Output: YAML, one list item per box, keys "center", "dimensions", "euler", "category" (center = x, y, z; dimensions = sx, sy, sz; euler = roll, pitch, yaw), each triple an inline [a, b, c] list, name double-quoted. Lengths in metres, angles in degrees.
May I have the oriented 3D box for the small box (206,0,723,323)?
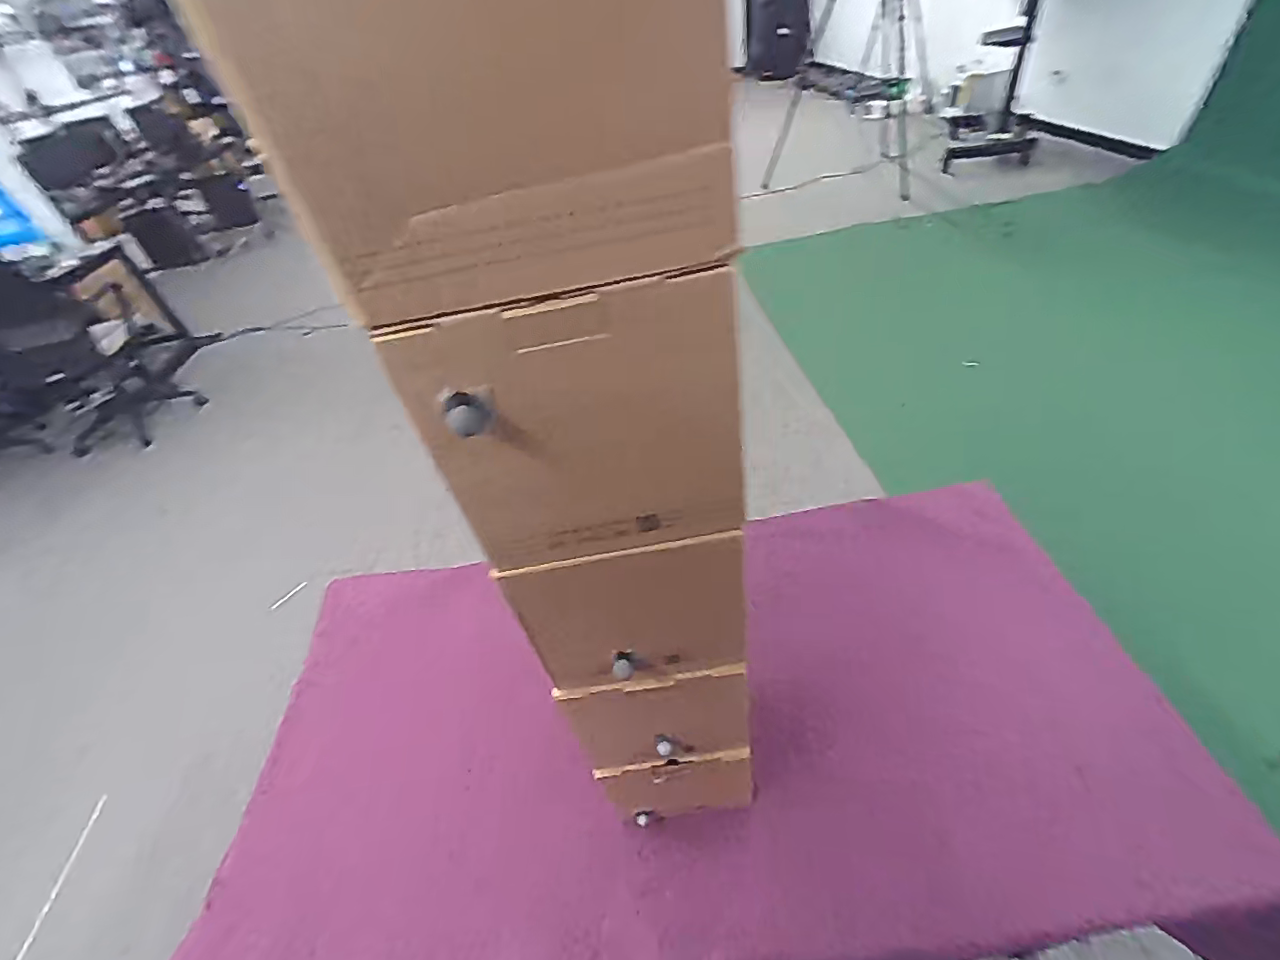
- center: [-0.065, -0.190, 0.255]
  dimensions: [0.179, 0.176, 0.168]
  euler: [-10, 41, 1]
  category: "small box"

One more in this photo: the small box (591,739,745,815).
- center: [0.035, 0.298, 0.678]
  dimensions: [0.168, 0.176, 0.179]
  euler: [-9, 42, 2]
  category: "small box"

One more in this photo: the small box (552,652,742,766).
- center: [0.010, 0.174, 0.574]
  dimensions: [0.168, 0.176, 0.179]
  euler: [-10, 42, 2]
  category: "small box"

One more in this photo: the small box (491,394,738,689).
- center: [-0.013, 0.052, 0.468]
  dimensions: [0.168, 0.176, 0.179]
  euler: [-10, 42, 2]
  category: "small box"
